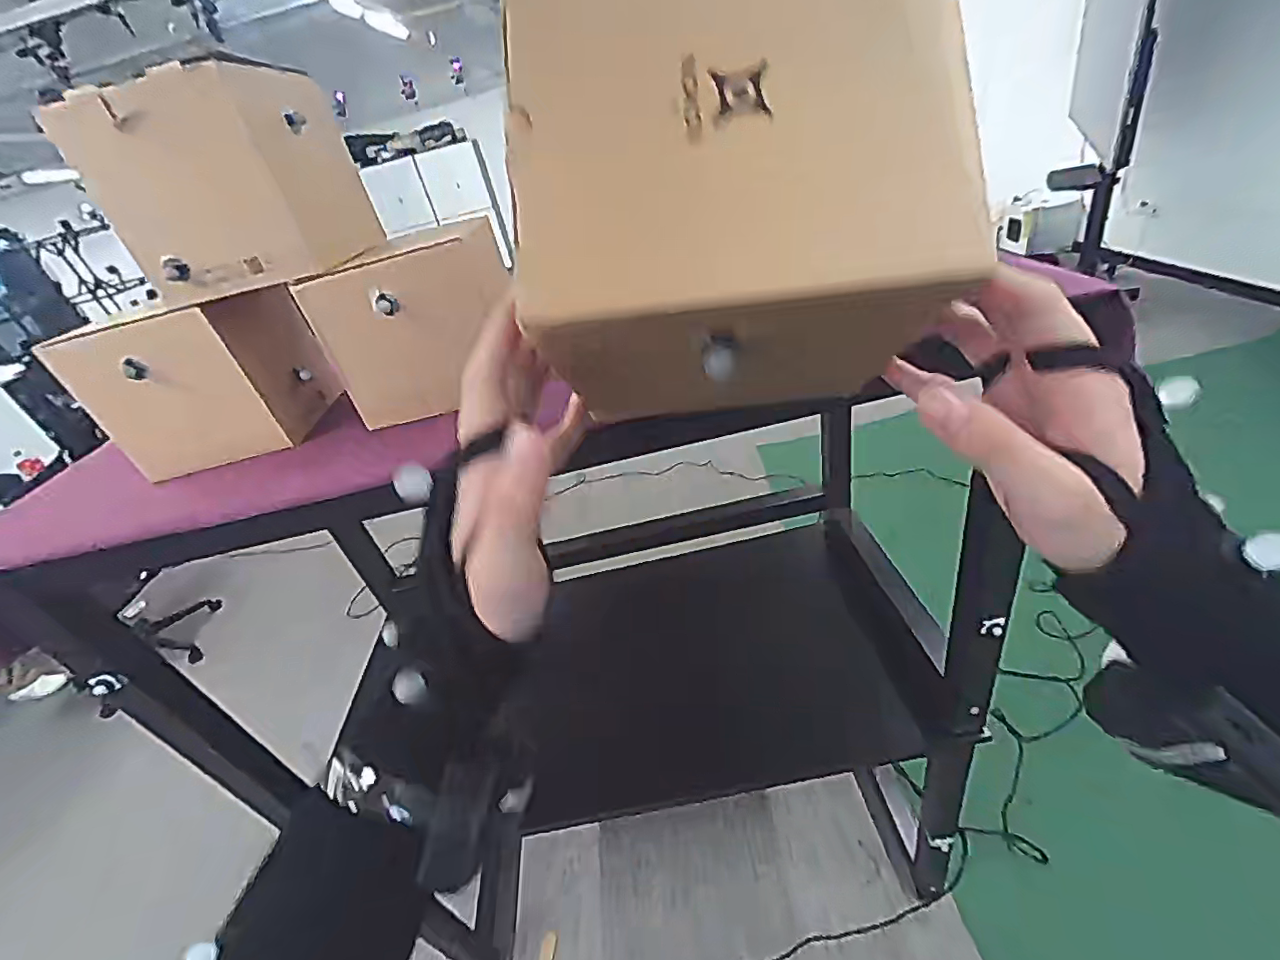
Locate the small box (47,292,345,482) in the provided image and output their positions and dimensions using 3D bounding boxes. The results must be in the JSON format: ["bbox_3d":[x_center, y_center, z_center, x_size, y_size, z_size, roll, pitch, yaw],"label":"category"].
[{"bbox_3d":[-0.498,-0.118,0.642,0.179,0.176,0.168,-14,34,2],"label":"small box"}]

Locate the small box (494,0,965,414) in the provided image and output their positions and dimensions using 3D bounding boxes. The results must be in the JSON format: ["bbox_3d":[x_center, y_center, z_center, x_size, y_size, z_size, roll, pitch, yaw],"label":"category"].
[{"bbox_3d":[0.037,-0.139,0.294,0.179,0.168,0.176,-5,-7,7],"label":"small box"}]

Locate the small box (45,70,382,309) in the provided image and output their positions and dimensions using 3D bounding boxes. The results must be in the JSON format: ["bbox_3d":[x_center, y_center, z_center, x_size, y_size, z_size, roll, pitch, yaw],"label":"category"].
[{"bbox_3d":[-0.396,-0.285,0.548,0.168,0.176,0.179,-11,33,5],"label":"small box"}]

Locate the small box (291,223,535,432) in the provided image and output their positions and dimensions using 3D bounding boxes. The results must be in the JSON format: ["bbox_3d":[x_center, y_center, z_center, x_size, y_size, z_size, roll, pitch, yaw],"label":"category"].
[{"bbox_3d":[-0.237,-0.173,0.618,0.179,0.176,0.168,-13,33,4],"label":"small box"}]
